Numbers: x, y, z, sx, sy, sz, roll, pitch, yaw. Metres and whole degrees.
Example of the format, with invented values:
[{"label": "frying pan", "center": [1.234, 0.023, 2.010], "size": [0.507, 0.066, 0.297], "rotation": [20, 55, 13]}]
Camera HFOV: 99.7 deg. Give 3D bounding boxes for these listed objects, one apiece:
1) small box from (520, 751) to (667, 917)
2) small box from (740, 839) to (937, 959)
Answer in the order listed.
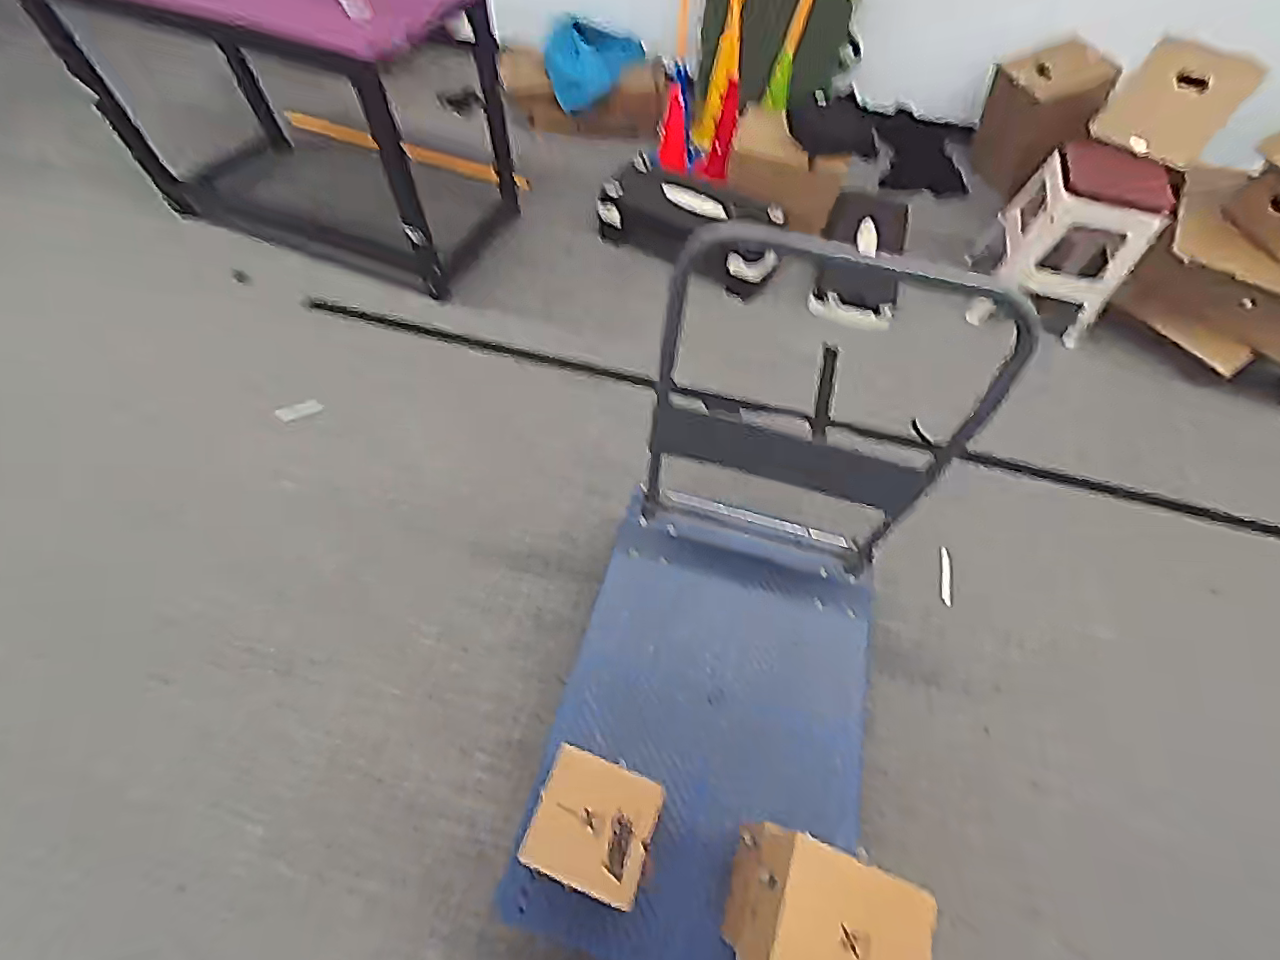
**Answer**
[{"label": "small box", "center": [-0.069, 0.565, 0.879], "size": [0.179, 0.176, 0.168], "rotation": [19, 59, 10]}, {"label": "small box", "center": [0.243, 0.588, 0.691], "size": [0.179, 0.176, 0.168], "rotation": [21, 59, 9]}]
